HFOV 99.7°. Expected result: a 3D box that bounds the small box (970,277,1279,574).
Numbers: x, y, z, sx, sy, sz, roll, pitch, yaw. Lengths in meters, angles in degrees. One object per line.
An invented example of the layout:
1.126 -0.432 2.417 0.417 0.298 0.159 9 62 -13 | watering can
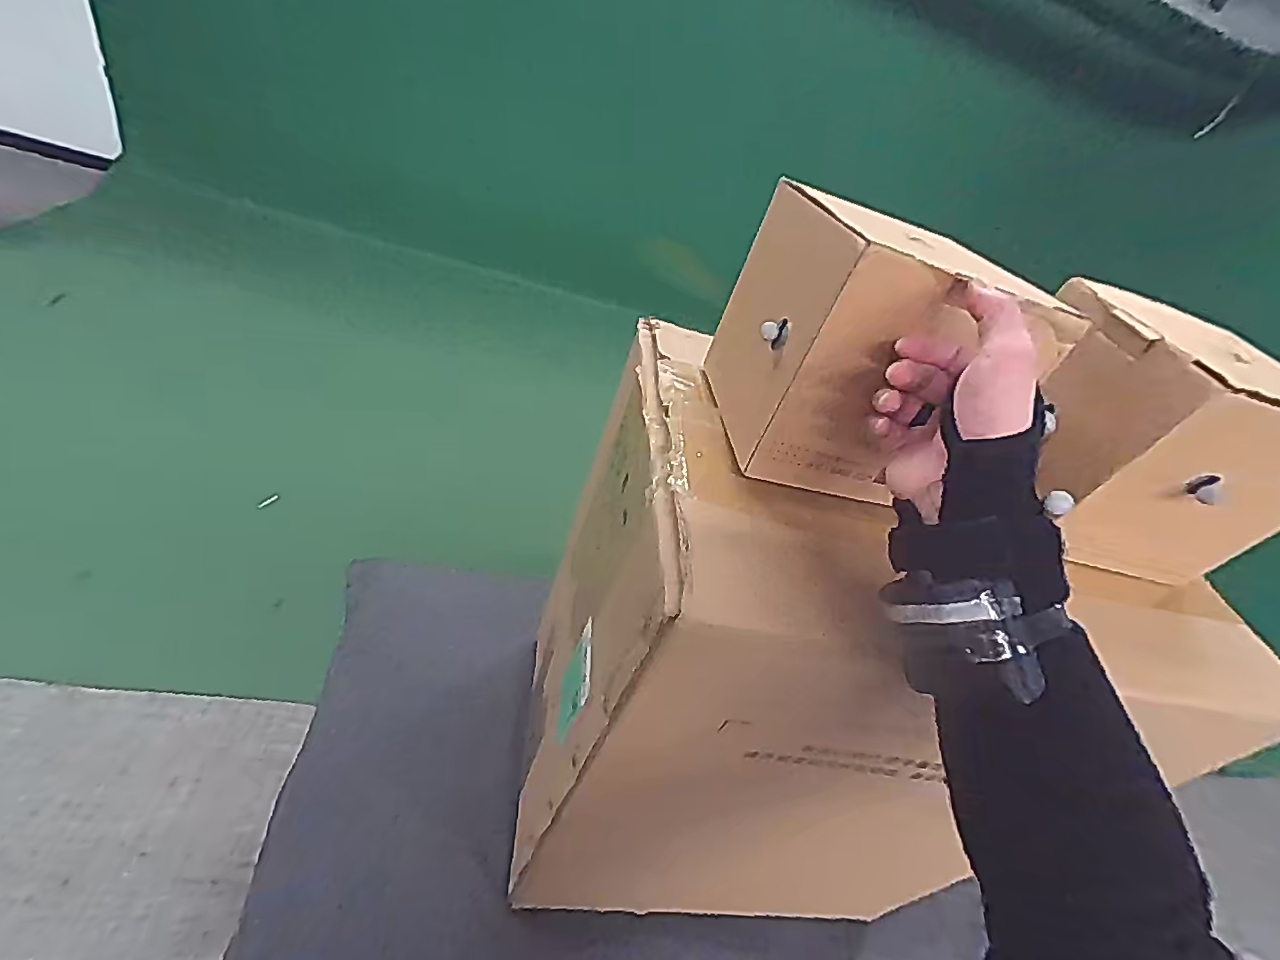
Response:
0.415 -0.039 0.459 0.179 0.176 0.168 12 44 -11 | small box

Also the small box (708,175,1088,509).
0.168 -0.101 0.421 0.168 0.176 0.179 13 39 -16 | small box
